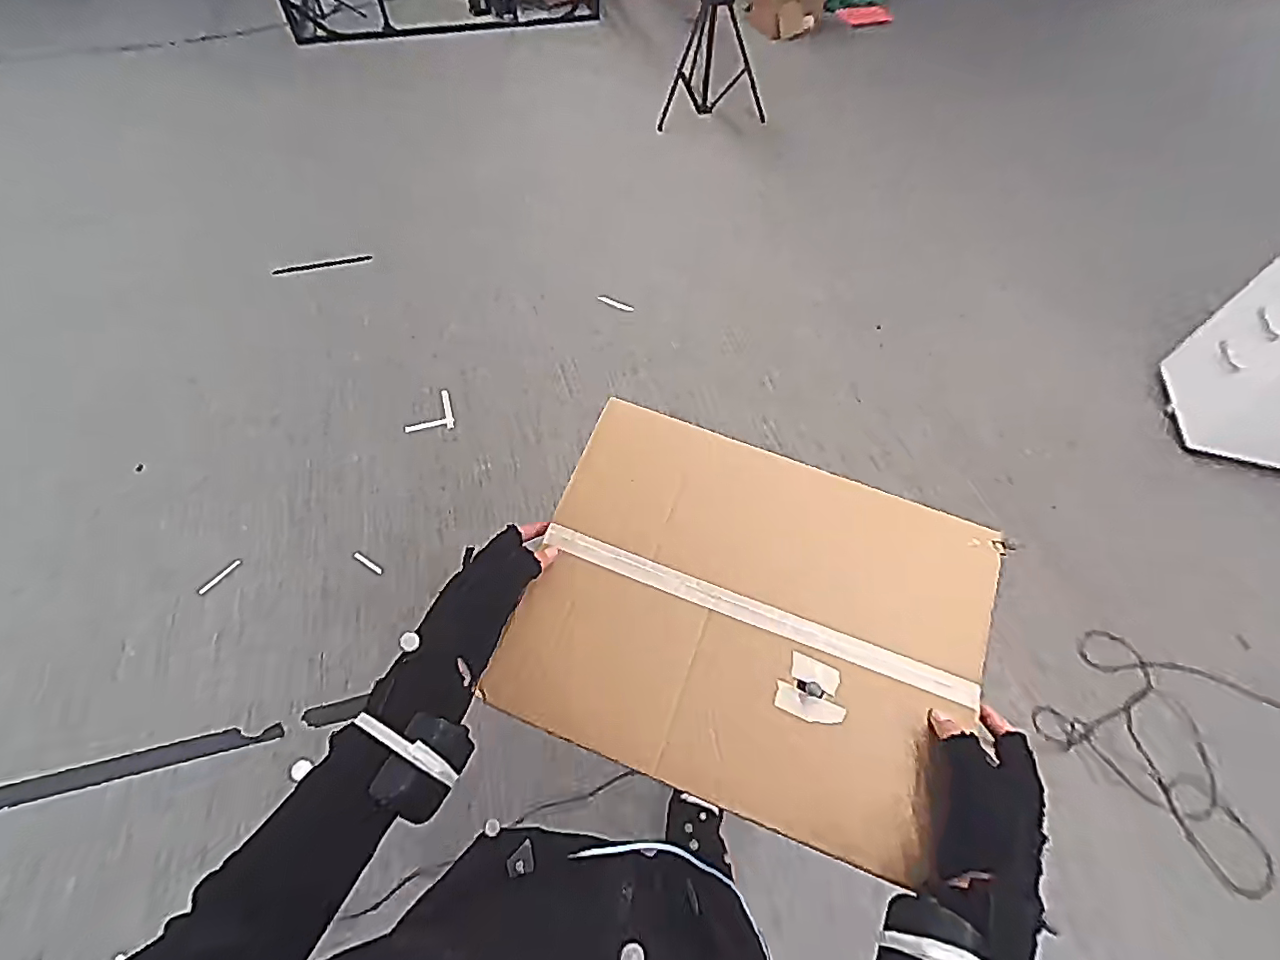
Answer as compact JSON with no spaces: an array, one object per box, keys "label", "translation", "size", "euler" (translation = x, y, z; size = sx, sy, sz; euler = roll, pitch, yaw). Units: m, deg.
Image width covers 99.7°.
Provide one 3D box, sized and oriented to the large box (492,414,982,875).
[{"label":"large box","translation":[0.099,0.176,0.647],"size":[0.408,0.320,0.320],"euler":[20,72,6]}]
